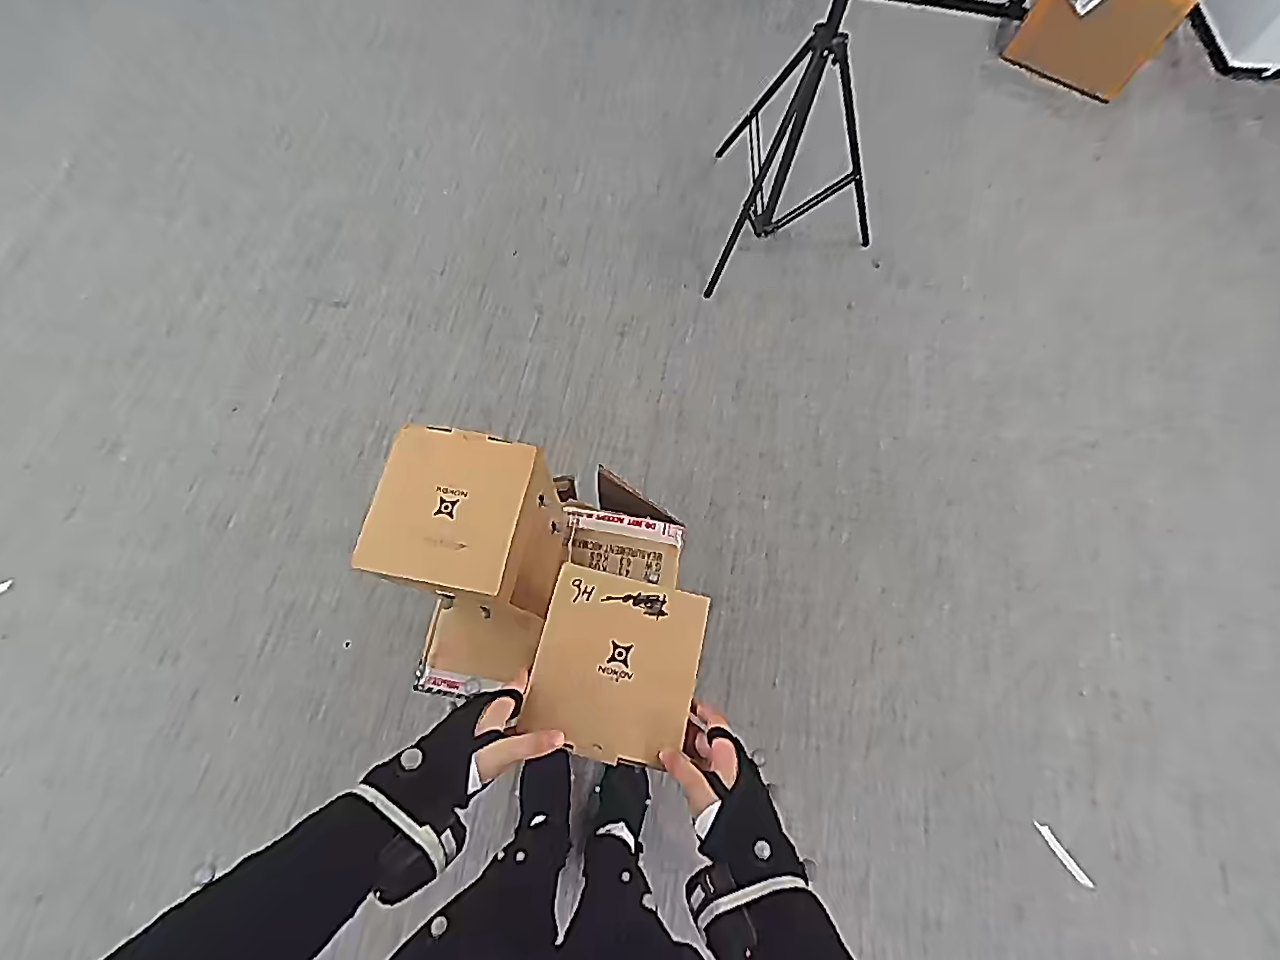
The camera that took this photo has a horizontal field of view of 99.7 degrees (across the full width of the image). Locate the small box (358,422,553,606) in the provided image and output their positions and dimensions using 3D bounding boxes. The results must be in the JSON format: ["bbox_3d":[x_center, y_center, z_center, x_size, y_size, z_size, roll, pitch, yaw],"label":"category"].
[{"bbox_3d":[-0.212,0.052,0.682,0.168,0.176,0.179,10,72,3],"label":"small box"}]

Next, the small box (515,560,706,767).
[{"bbox_3d":[-0.030,0.209,0.636,0.168,0.176,0.179,14,72,1],"label":"small box"}]

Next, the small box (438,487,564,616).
[{"bbox_3d":[-0.219,0.103,0.836,0.168,0.176,0.179,10,72,2],"label":"small box"}]
